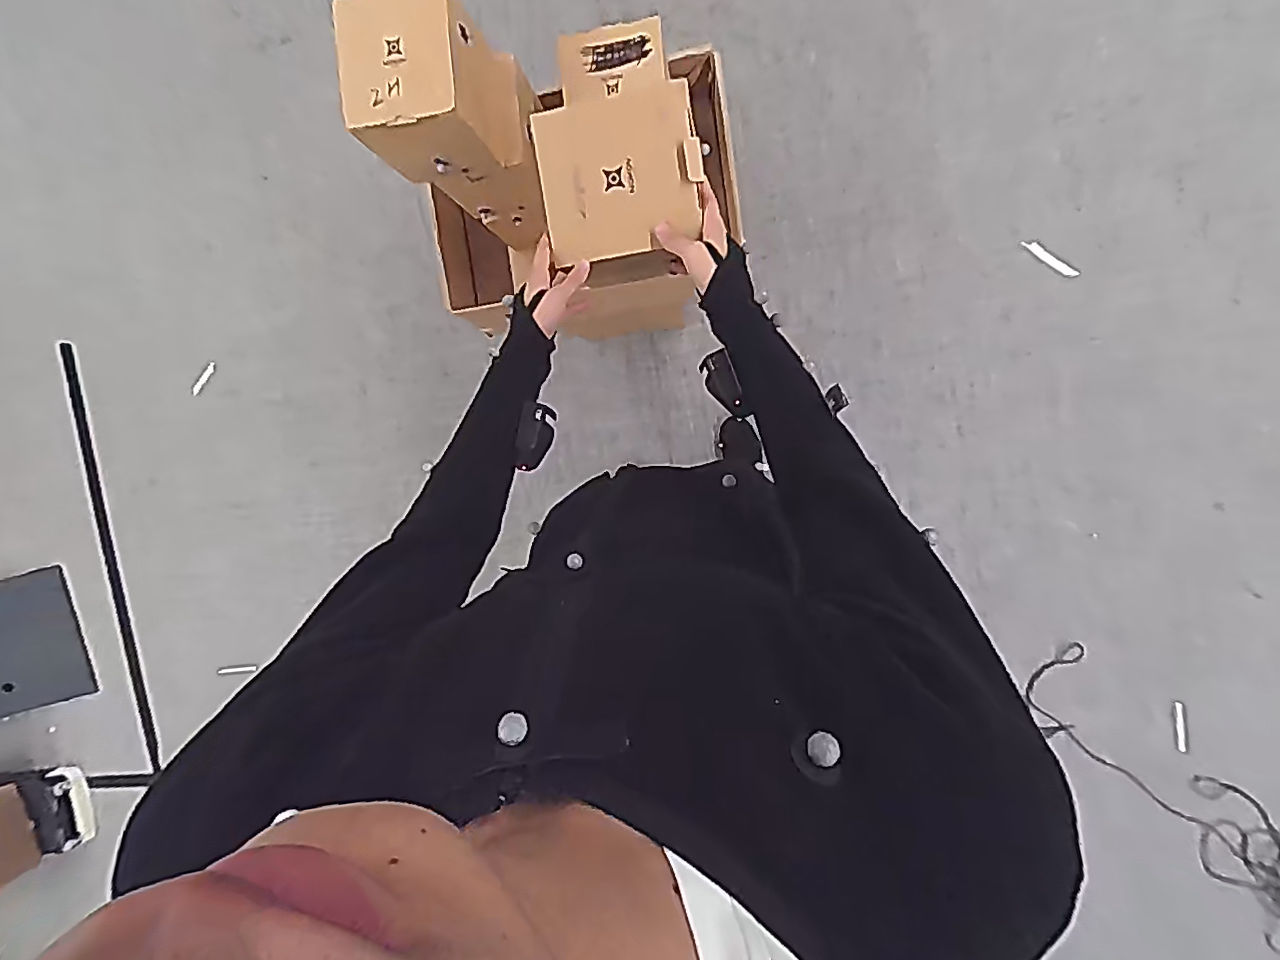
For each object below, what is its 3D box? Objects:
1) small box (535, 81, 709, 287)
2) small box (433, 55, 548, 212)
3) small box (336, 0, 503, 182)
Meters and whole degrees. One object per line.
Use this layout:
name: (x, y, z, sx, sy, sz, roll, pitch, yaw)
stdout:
small box: (-0.010, -0.348, 0.672, 0.179, 0.176, 0.168, -7, 100, 10)
small box: (-0.264, -0.599, 0.964, 0.168, 0.176, 0.179, -4, 94, 8)
small box: (-0.317, -0.580, 0.806, 0.168, 0.176, 0.179, -3, 95, 8)
